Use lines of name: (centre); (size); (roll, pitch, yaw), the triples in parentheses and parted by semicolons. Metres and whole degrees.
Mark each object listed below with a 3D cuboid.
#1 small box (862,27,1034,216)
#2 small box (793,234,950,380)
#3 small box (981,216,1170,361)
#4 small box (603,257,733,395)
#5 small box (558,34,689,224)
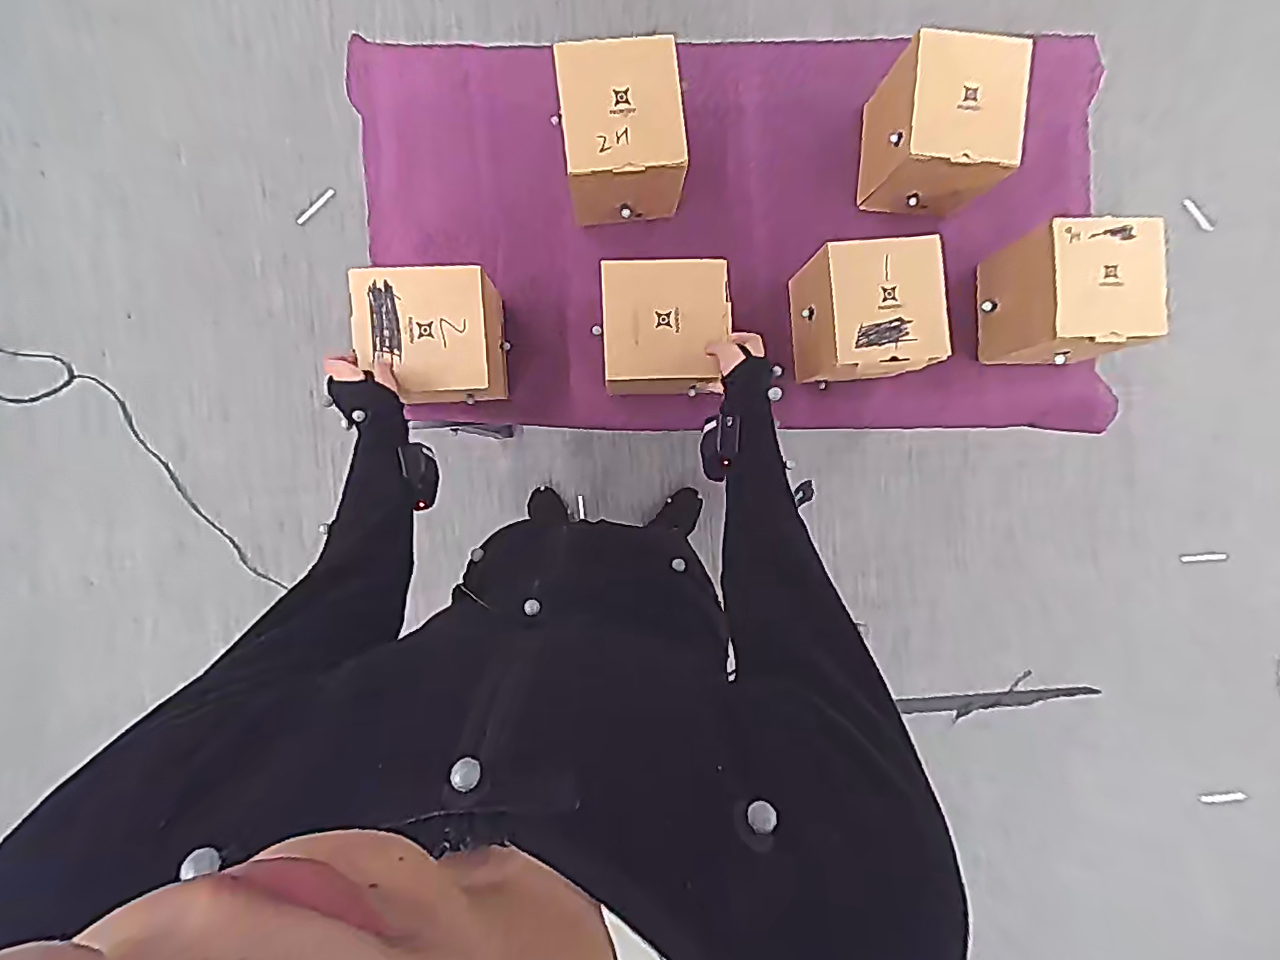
small box: (0.460, -0.537, 0.832); (0.168, 0.176, 0.179); (3, 93, -3)
small box: (0.344, -0.253, 0.831); (0.168, 0.176, 0.179); (-5, 91, -3)
small box: (0.665, -0.286, 0.844); (0.168, 0.176, 0.179); (-1, 90, -2)
small box: (0.035, -0.223, 0.816); (0.179, 0.176, 0.168); (-2, 91, -4)
small box: (-0.027, -0.510, 0.807); (0.168, 0.176, 0.179); (-6, 92, -3)
